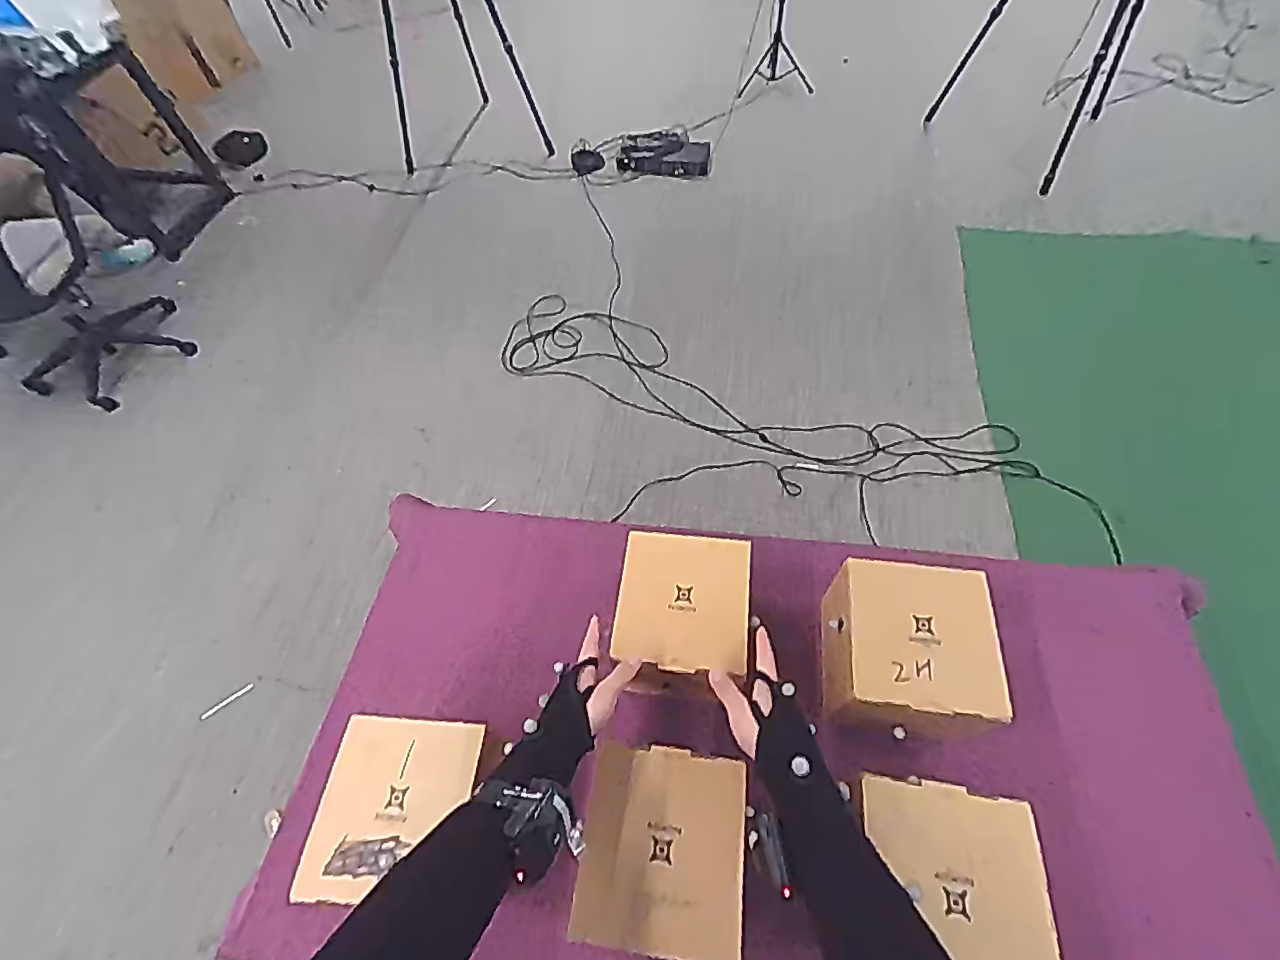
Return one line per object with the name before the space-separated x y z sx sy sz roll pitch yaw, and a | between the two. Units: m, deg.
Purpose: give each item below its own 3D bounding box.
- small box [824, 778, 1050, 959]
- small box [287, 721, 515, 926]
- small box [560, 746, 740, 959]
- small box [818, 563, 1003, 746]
small box | 0.294 0.436 0.573 0.168 0.176 0.179 5 57 10
small box | -0.263 0.405 0.649 0.168 0.176 0.179 2 55 7
small box | 0.022 0.420 0.614 0.168 0.176 0.179 4 58 9
small box | 0.331 0.229 0.703 0.168 0.176 0.179 5 58 9
